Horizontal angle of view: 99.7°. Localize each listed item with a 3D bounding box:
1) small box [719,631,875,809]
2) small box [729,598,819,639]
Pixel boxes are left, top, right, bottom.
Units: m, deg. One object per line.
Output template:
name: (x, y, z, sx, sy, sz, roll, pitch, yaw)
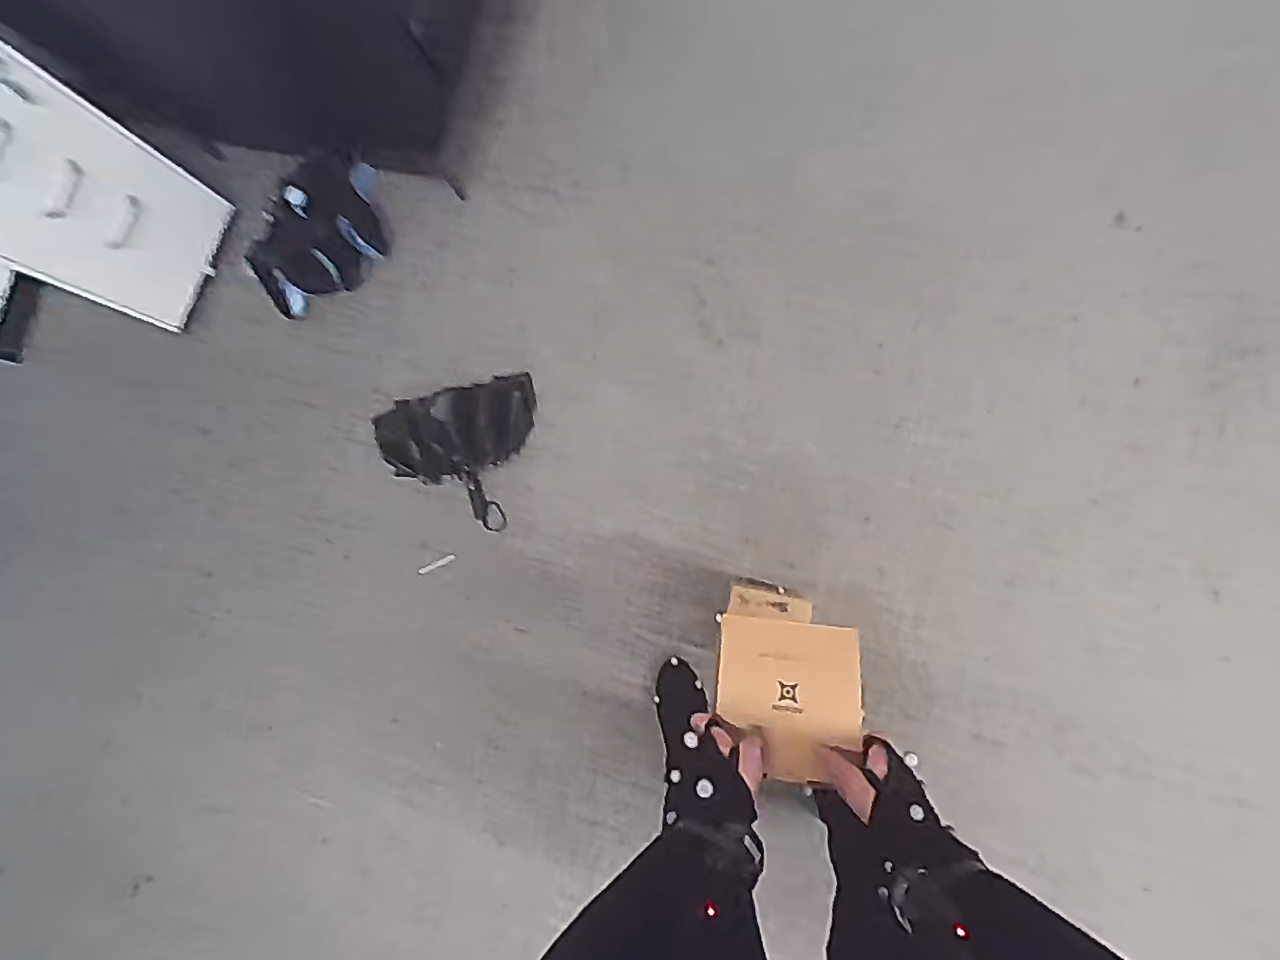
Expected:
small box: (0.190, 0.306, 0.695, 0.168, 0.176, 0.179, 4, 62, 7)
small box: (0.279, 0.365, 1.173, 0.168, 0.176, 0.179, 10, 84, 9)
